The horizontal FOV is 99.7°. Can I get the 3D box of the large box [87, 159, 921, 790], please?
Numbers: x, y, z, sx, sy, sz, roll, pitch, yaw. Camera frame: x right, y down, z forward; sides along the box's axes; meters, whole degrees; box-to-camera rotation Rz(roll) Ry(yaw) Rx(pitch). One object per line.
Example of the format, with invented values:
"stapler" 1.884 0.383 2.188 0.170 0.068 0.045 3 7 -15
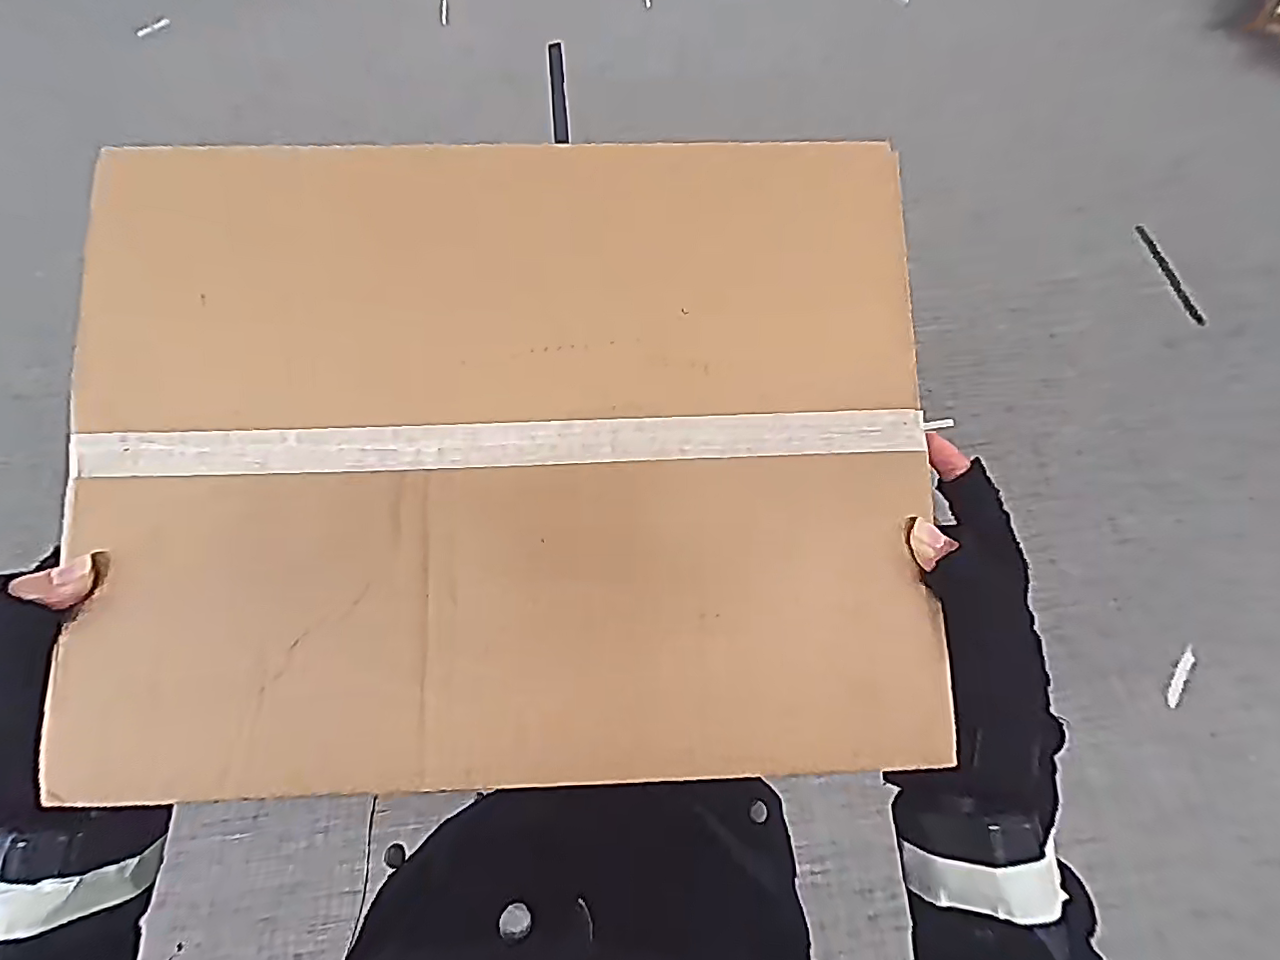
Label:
"large box" -0.068 0.000 0.421 0.408 0.320 0.320 -2 83 -2
